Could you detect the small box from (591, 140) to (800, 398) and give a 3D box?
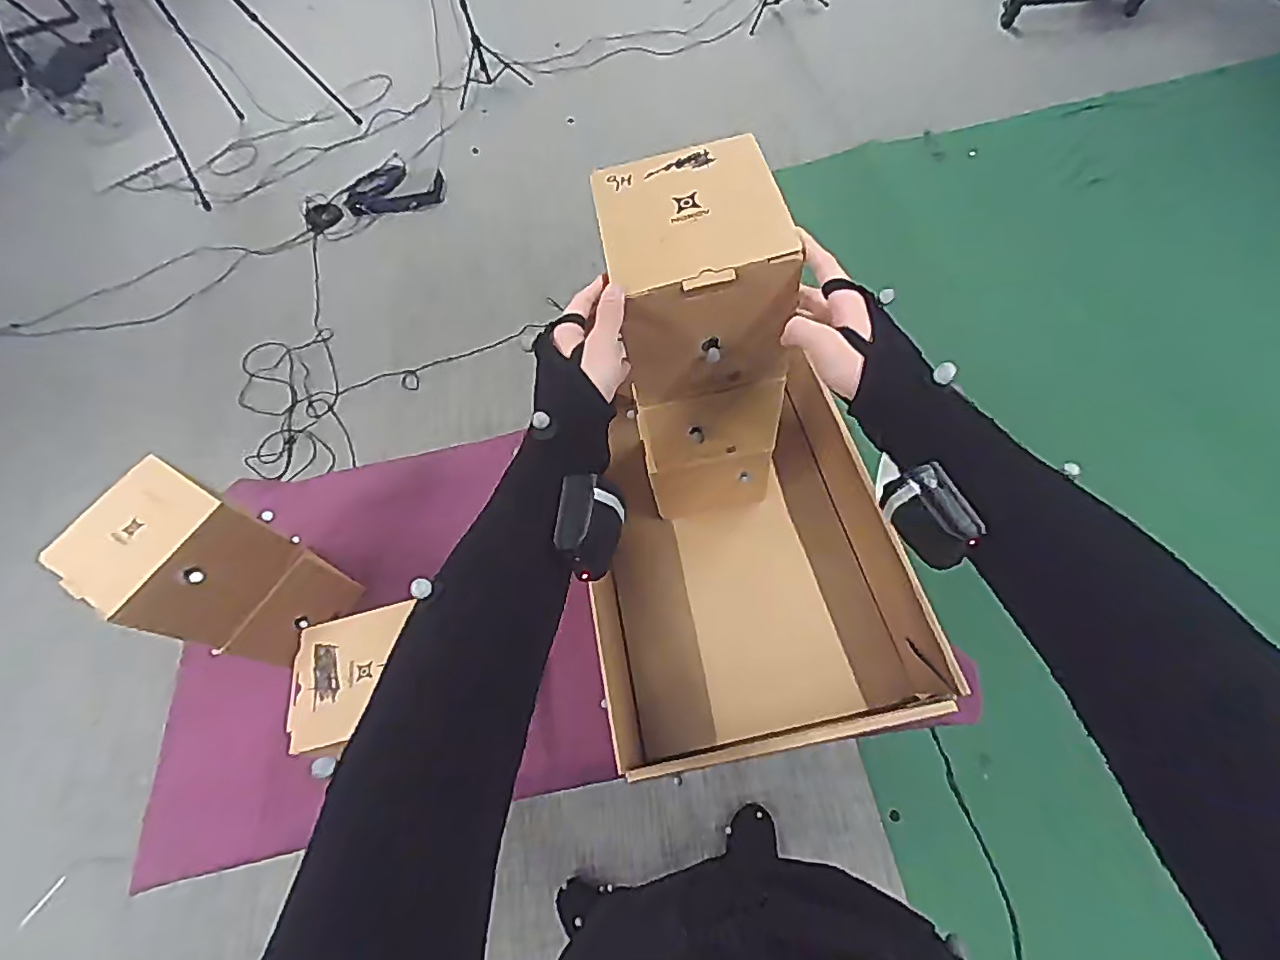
[{"bbox_3d":[0.055,-0.202,0.561,0.168,0.176,0.179,-12,64,3],"label":"small box"}]

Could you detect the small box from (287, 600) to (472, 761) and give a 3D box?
[{"bbox_3d":[-0.363,0.296,0.783,0.179,0.176,0.168,-15,59,0],"label":"small box"}]

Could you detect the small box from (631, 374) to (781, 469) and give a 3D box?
[{"bbox_3d":[0.078,-0.128,0.706,0.168,0.176,0.179,-12,62,3],"label":"small box"}]

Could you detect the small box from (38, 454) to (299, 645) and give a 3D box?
[{"bbox_3d":[-0.627,0.102,0.743,0.168,0.176,0.179,26,68,19],"label":"small box"}]

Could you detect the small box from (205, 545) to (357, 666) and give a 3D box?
[{"bbox_3d":[-0.611,0.185,0.882,0.179,0.176,0.168,25,67,20],"label":"small box"}]
